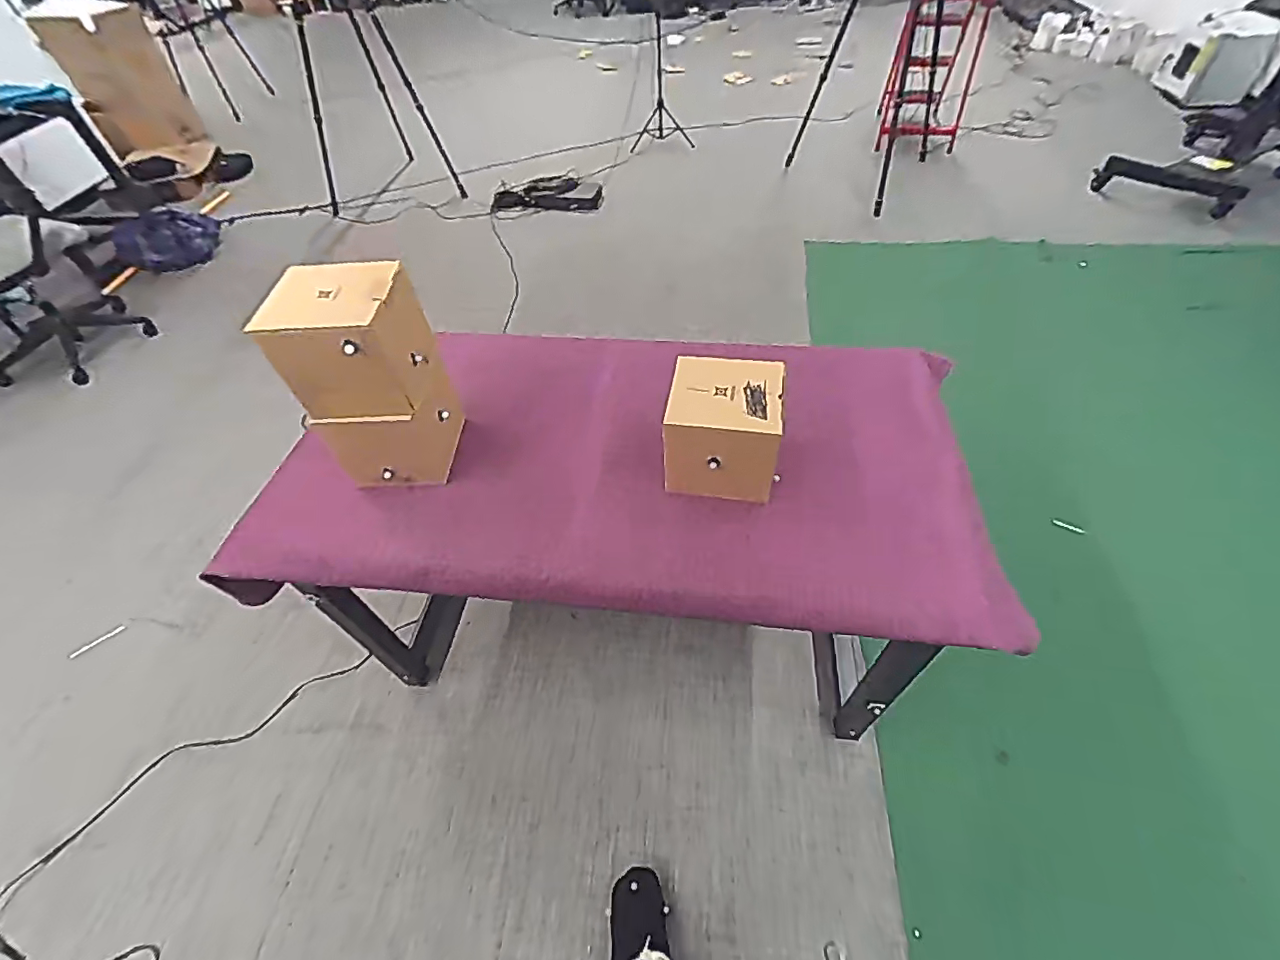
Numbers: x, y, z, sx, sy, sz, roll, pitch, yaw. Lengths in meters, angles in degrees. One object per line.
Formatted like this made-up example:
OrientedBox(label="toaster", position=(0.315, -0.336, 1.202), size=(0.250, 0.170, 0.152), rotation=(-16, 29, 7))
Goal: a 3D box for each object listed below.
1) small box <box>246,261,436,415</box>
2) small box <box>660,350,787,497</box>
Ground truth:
OrientedBox(label="small box", position=(-0.443, -0.214, 0.835), size=(0.179, 0.176, 0.168), rotation=(-3, 51, 2))
OrientedBox(label="small box", position=(0.136, -0.090, 0.896), size=(0.179, 0.176, 0.168), rotation=(9, 50, 11))
